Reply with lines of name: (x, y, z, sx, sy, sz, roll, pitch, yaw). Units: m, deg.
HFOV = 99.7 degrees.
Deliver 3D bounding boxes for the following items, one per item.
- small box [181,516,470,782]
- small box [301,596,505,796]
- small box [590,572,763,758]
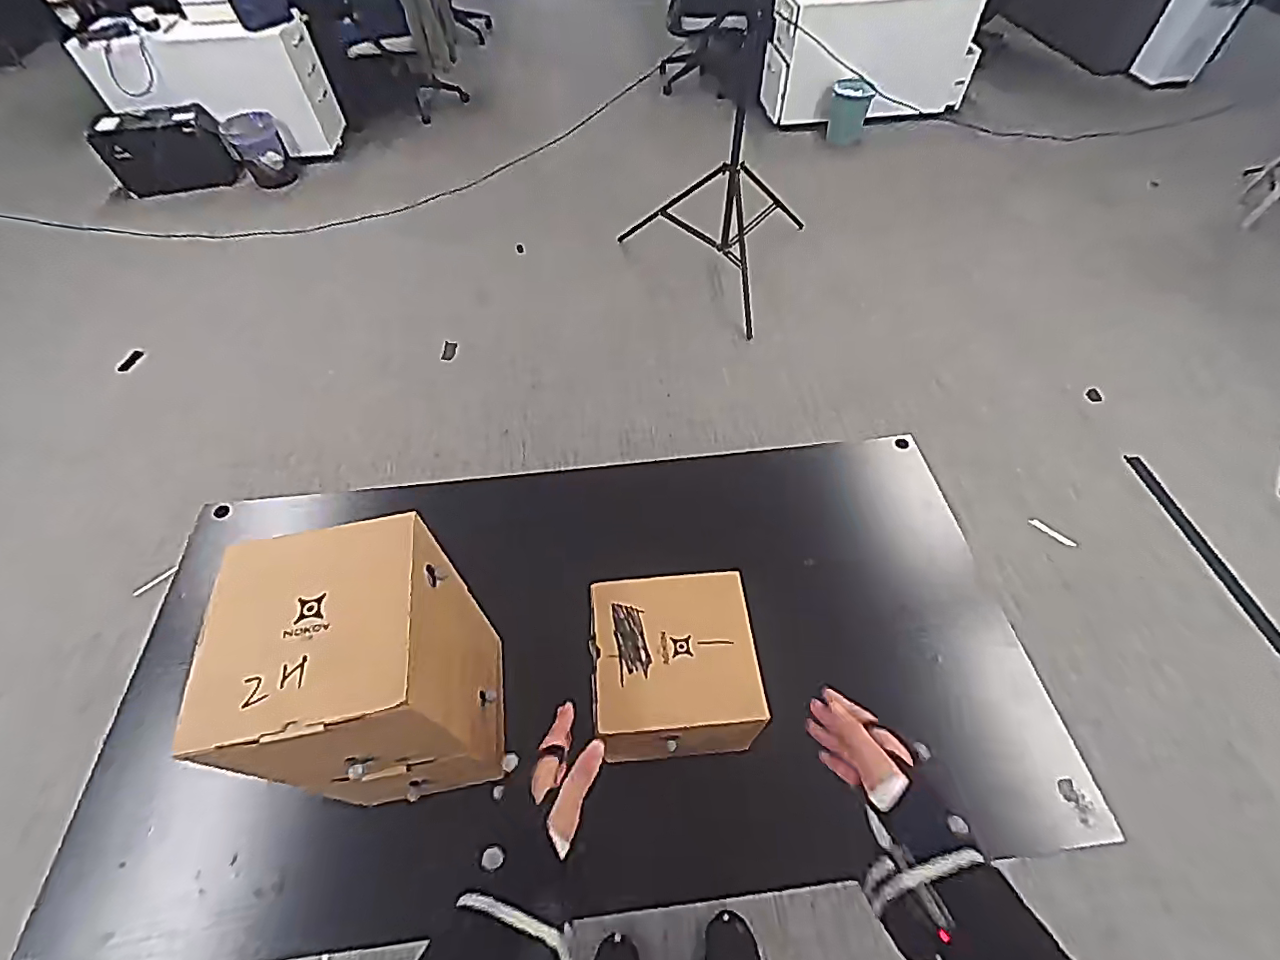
small box: (-0.265, 0.161, 0.509, 0.168, 0.176, 0.179, -11, 55, -5)
small box: (-0.261, 0.262, 0.641, 0.168, 0.176, 0.179, -10, 55, -4)
small box: (0.036, 0.228, 0.654, 0.179, 0.176, 0.168, -4, 54, -2)
